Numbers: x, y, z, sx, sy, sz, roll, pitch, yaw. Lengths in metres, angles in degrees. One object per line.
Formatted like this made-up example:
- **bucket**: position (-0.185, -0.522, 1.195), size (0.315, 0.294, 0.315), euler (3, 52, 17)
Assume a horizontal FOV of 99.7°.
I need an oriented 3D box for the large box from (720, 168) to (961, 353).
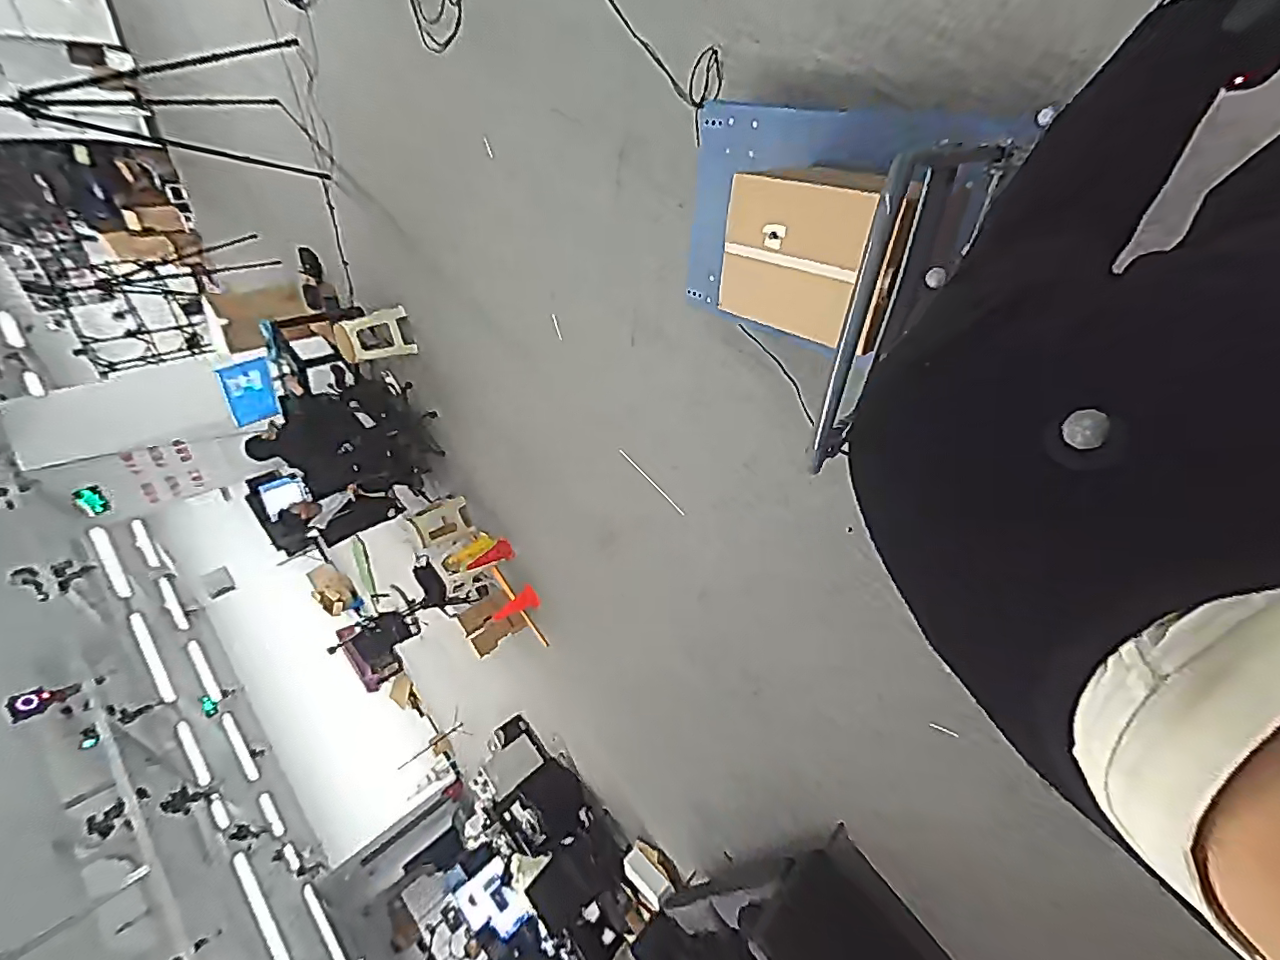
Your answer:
- **large box**: position (0.454, -0.539, 1.282), size (0.408, 0.320, 0.320), euler (33, 135, 35)
